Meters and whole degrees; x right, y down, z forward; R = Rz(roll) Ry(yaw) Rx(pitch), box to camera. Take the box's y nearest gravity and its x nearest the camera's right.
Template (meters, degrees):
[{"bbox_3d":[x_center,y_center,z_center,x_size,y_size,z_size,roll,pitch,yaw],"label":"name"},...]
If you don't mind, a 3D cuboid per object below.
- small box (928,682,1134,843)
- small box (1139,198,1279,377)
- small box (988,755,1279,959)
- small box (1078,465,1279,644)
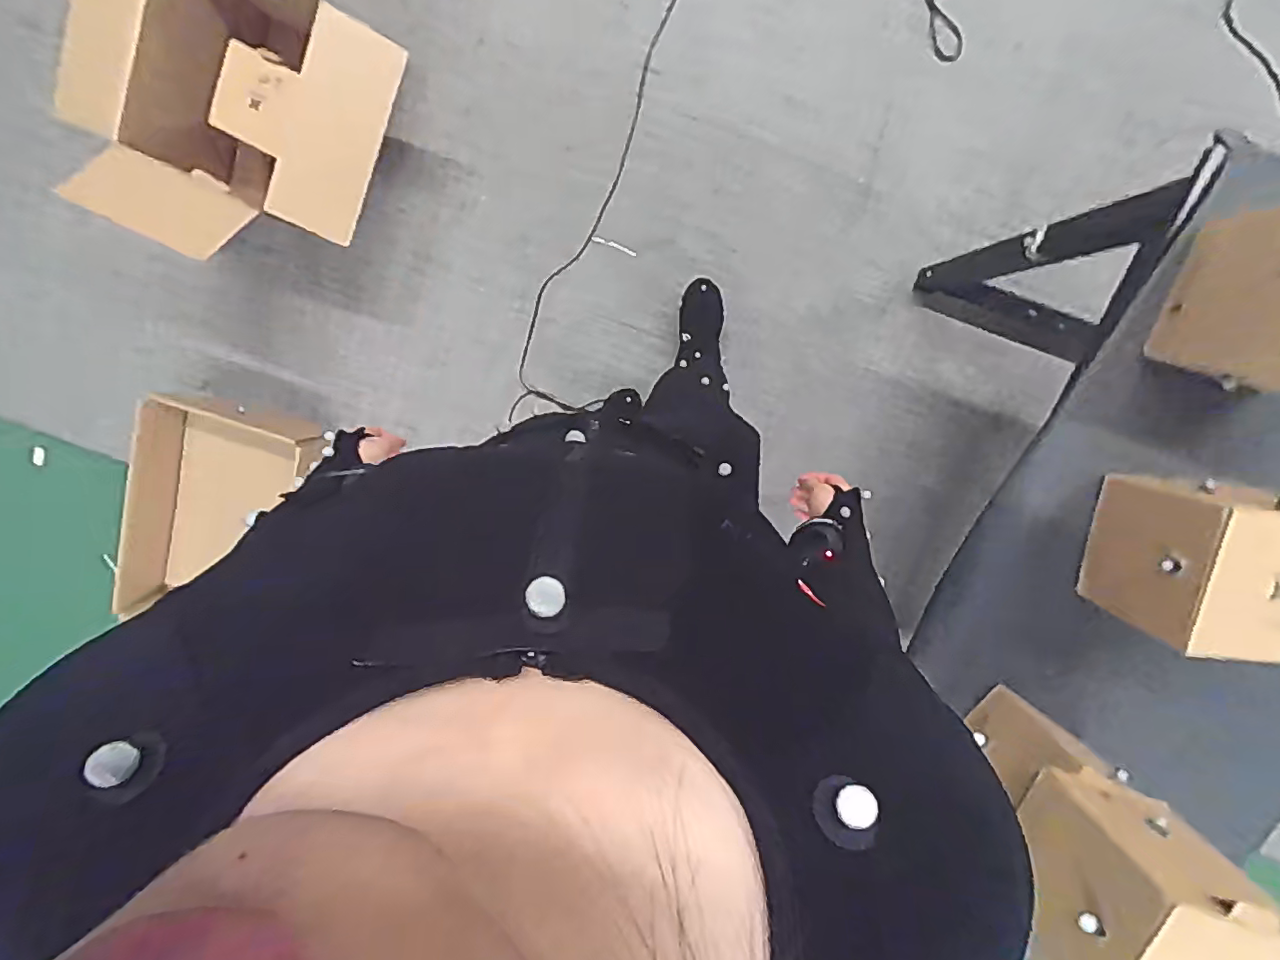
[{"bbox_3d":[0.549,0.416,0.743,0.179,0.176,0.168,35,100,-6],"label":"small box"},{"bbox_3d":[0.738,-0.211,0.603,0.179,0.176,0.168,15,103,-2],"label":"small box"},{"bbox_3d":[0.522,0.444,0.584,0.168,0.176,0.179,19,101,-4],"label":"small box"},{"bbox_3d":[0.697,0.082,0.670,0.168,0.176,0.179,4,103,1],"label":"small box"}]
